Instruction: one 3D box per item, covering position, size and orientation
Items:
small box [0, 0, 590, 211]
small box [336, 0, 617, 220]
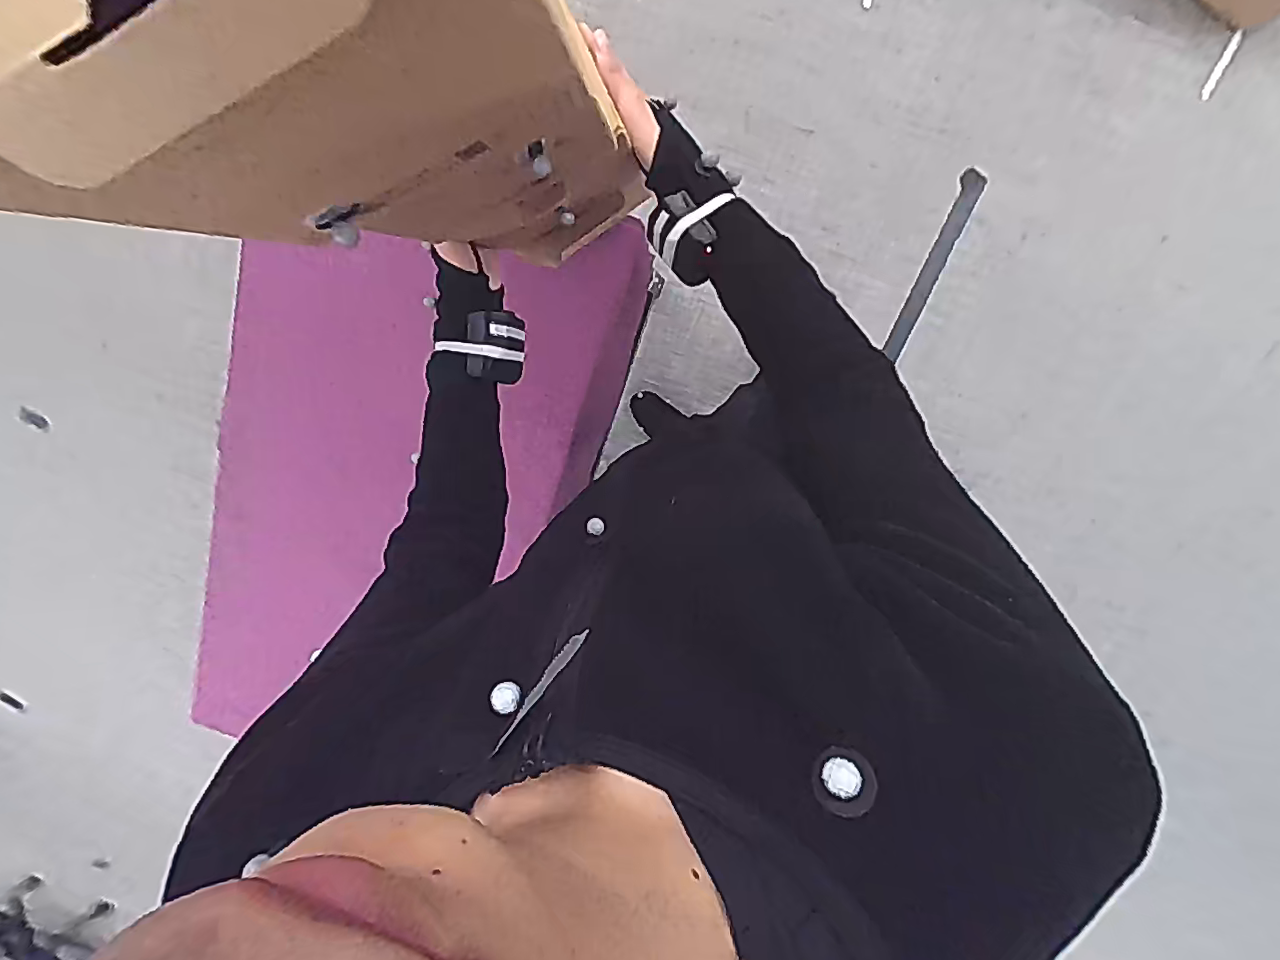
[{"bbox_3d":[-0.129,-0.207,0.172,0.168,0.176,0.179,-20,105,11],"label":"small box"},{"bbox_3d":[-0.124,-0.275,0.322,0.168,0.176,0.179,-20,106,11],"label":"small box"}]
